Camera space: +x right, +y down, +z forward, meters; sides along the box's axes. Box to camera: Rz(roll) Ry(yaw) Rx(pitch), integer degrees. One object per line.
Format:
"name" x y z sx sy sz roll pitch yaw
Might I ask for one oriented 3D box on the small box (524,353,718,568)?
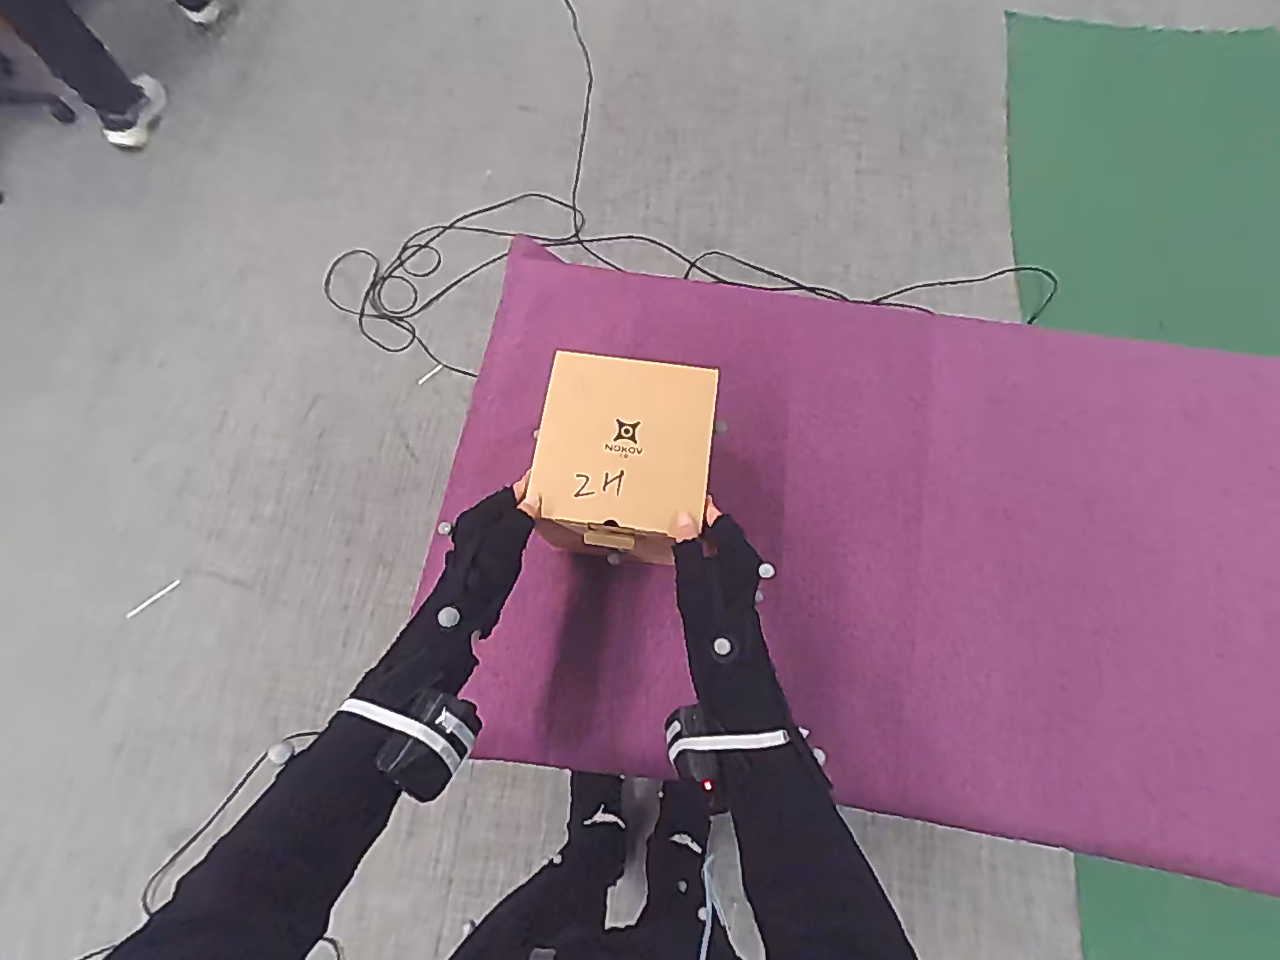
"small box" -0.014 -0.012 0.594 0.168 0.176 0.179 8 73 4
